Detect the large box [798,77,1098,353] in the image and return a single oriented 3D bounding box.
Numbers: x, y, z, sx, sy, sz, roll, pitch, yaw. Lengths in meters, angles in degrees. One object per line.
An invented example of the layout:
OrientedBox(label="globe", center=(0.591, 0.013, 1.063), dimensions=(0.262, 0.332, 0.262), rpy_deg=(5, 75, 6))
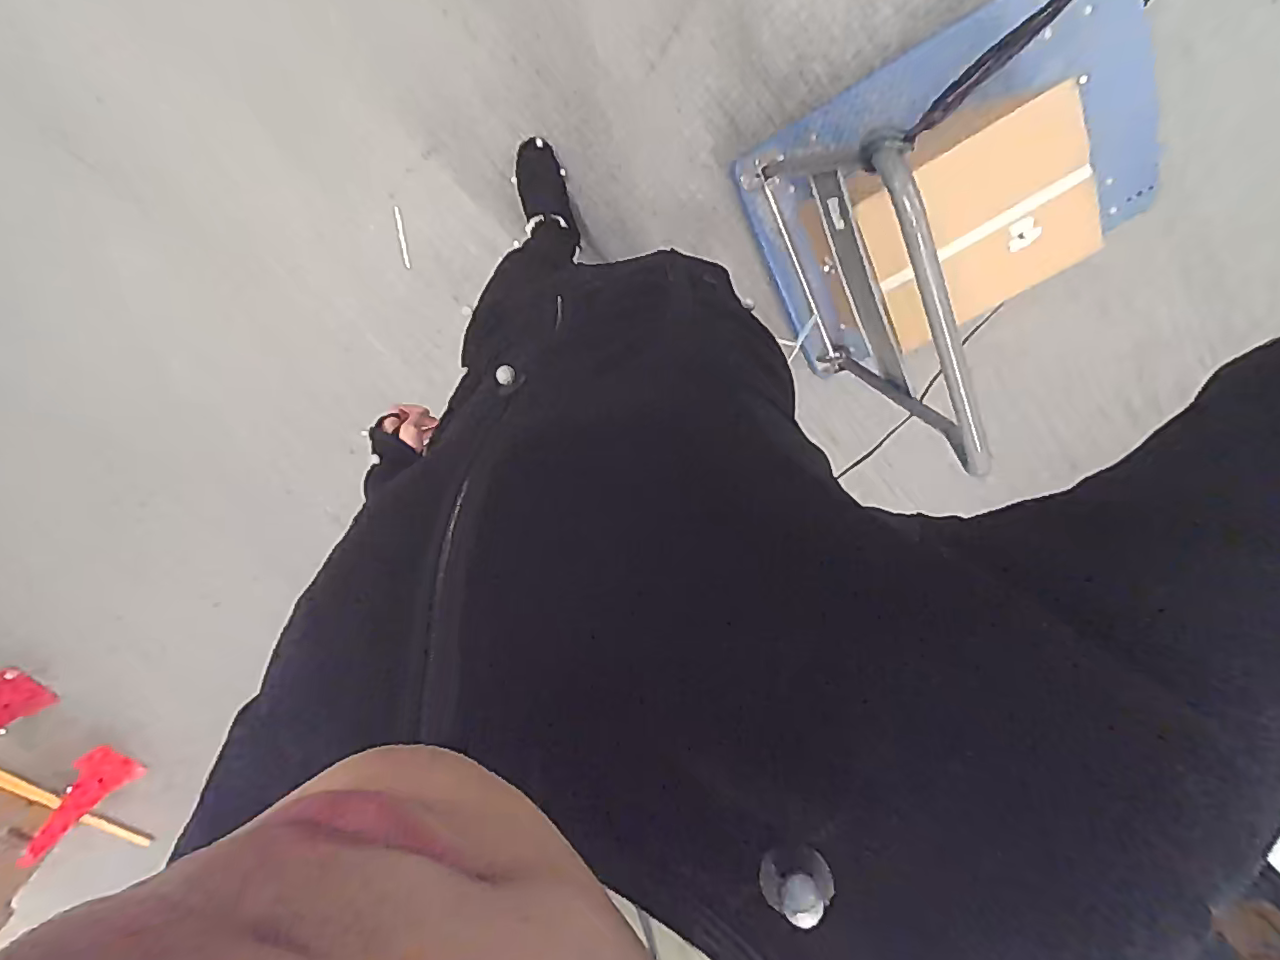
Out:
OrientedBox(label="large box", center=(0.611, -0.527, 1.126), dimensions=(0.408, 0.320, 0.320), rpy_deg=(-28, 116, 10))
